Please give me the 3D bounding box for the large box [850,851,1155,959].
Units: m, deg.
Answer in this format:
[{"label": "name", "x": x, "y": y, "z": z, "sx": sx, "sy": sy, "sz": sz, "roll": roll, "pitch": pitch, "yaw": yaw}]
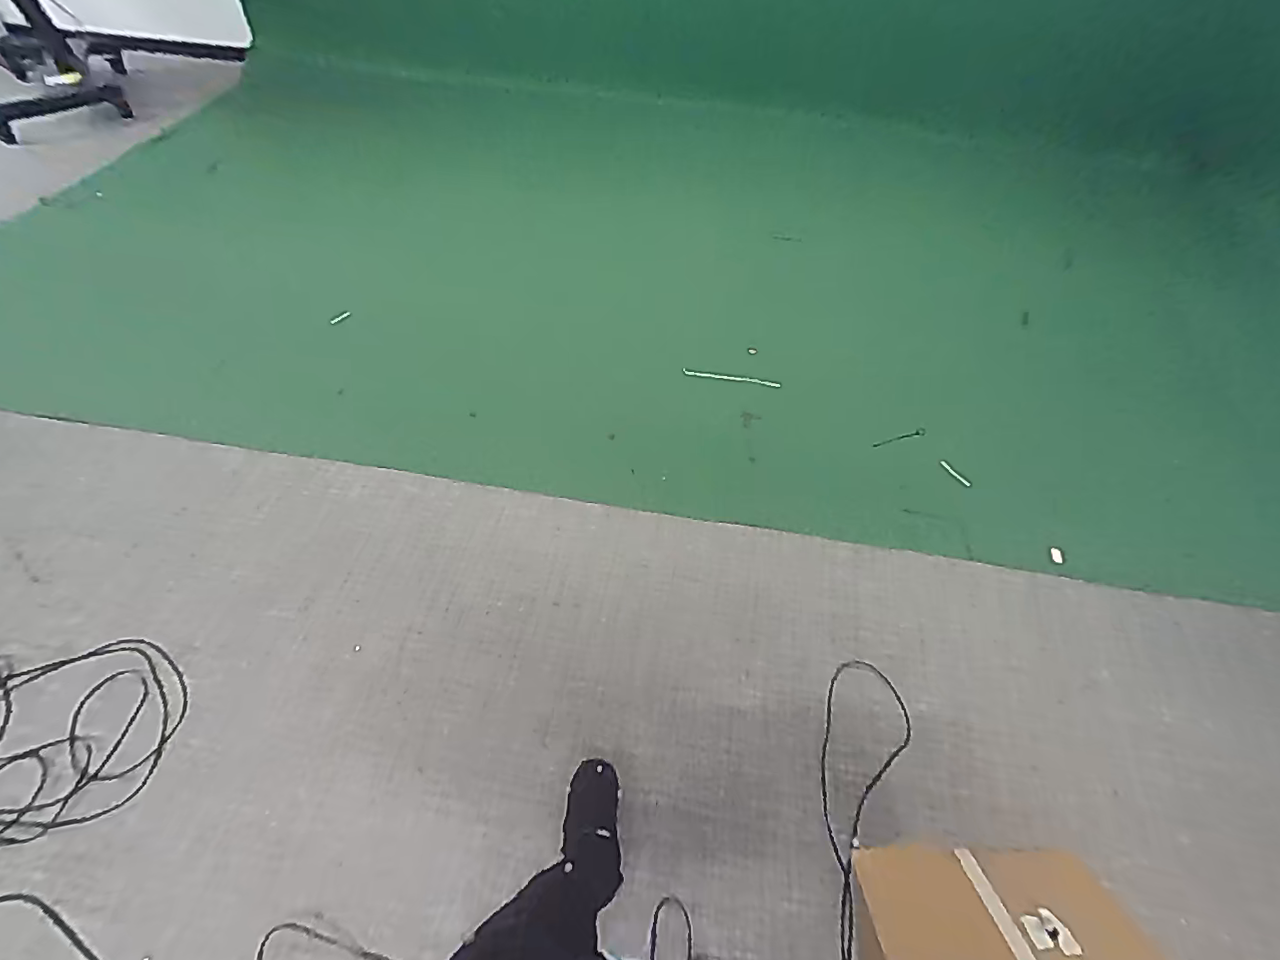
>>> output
[{"label": "large box", "x": 0.464, "y": 0.727, "z": 0.623, "sx": 0.320, "sy": 0.408, "sz": 0.320, "roll": -4, "pitch": 94, "yaw": 8}]
